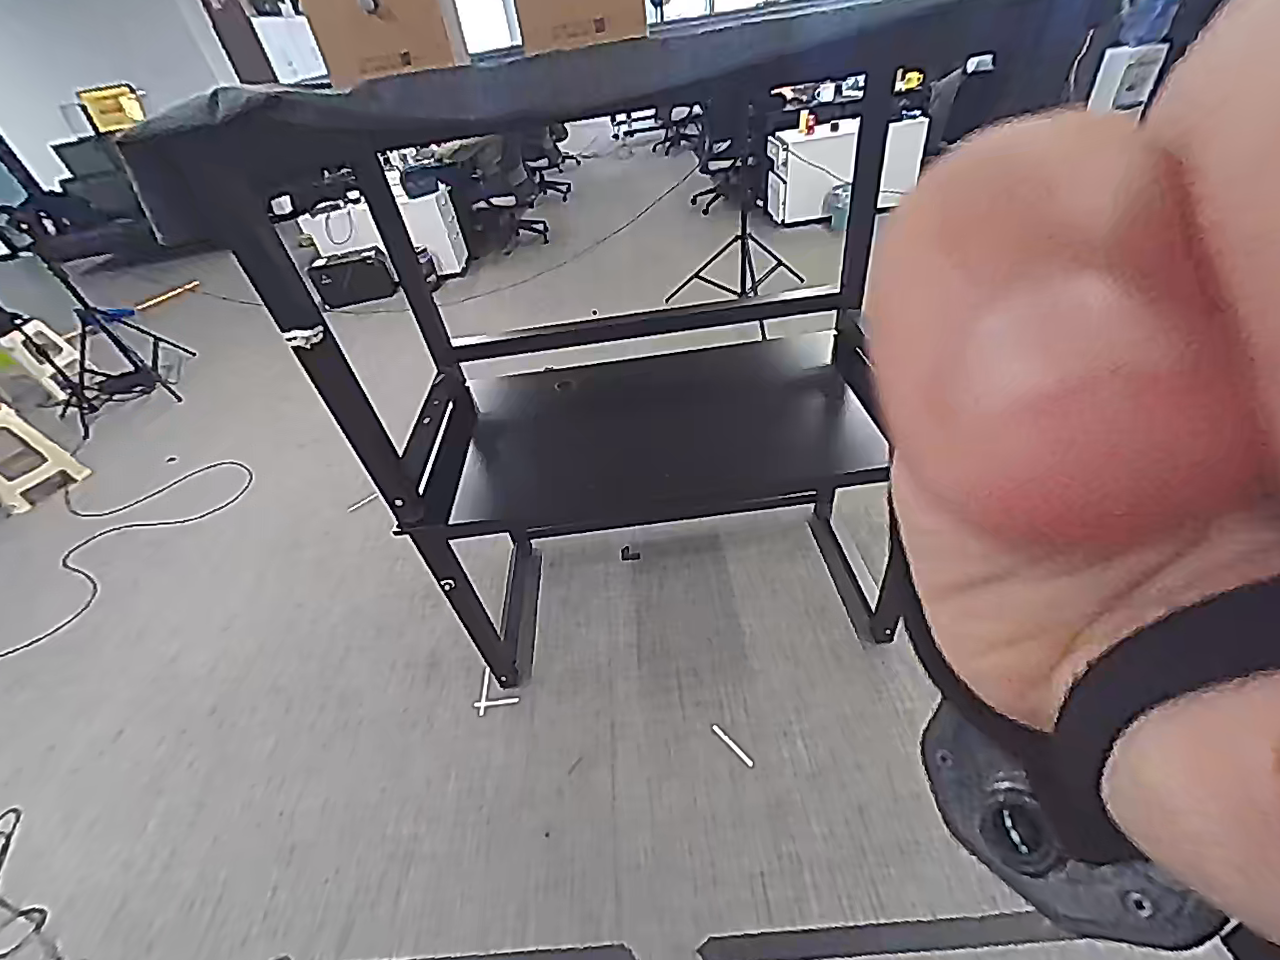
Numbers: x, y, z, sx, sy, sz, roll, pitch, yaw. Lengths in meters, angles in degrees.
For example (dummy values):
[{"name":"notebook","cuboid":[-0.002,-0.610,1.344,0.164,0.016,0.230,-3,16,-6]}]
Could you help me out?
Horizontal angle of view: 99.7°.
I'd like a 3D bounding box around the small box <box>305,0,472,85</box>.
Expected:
[{"name":"small box","cuboid":[-0.336,-0.642,0.721,0.168,0.176,0.179,-10,40,-2]}]
